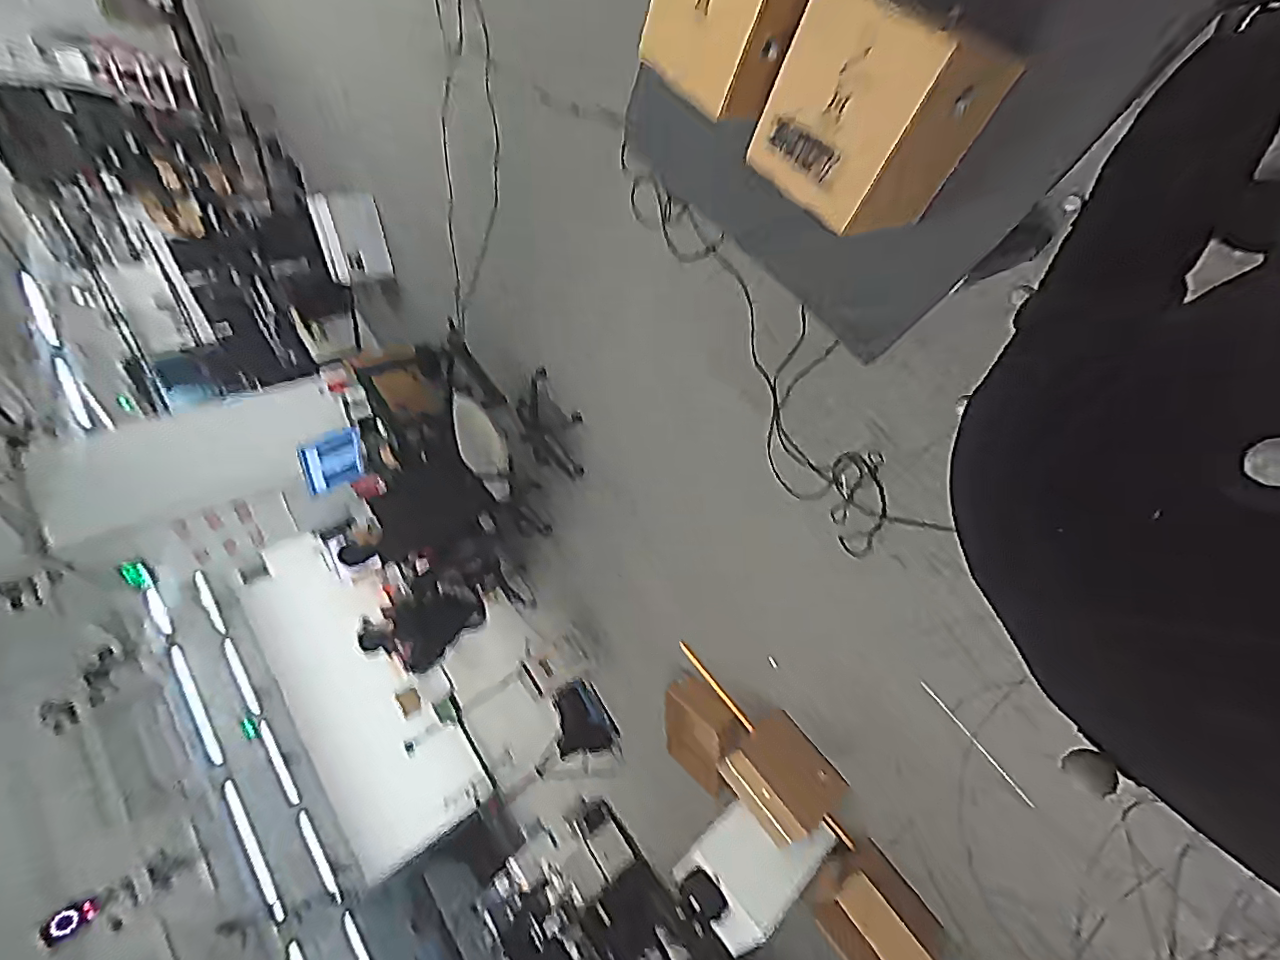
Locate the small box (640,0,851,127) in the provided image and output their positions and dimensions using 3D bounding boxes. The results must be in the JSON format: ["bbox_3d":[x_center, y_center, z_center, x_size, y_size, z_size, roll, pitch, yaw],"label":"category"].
[{"bbox_3d":[0.133,-0.575,0.672,0.168,0.176,0.179,51,145,19],"label":"small box"}]
